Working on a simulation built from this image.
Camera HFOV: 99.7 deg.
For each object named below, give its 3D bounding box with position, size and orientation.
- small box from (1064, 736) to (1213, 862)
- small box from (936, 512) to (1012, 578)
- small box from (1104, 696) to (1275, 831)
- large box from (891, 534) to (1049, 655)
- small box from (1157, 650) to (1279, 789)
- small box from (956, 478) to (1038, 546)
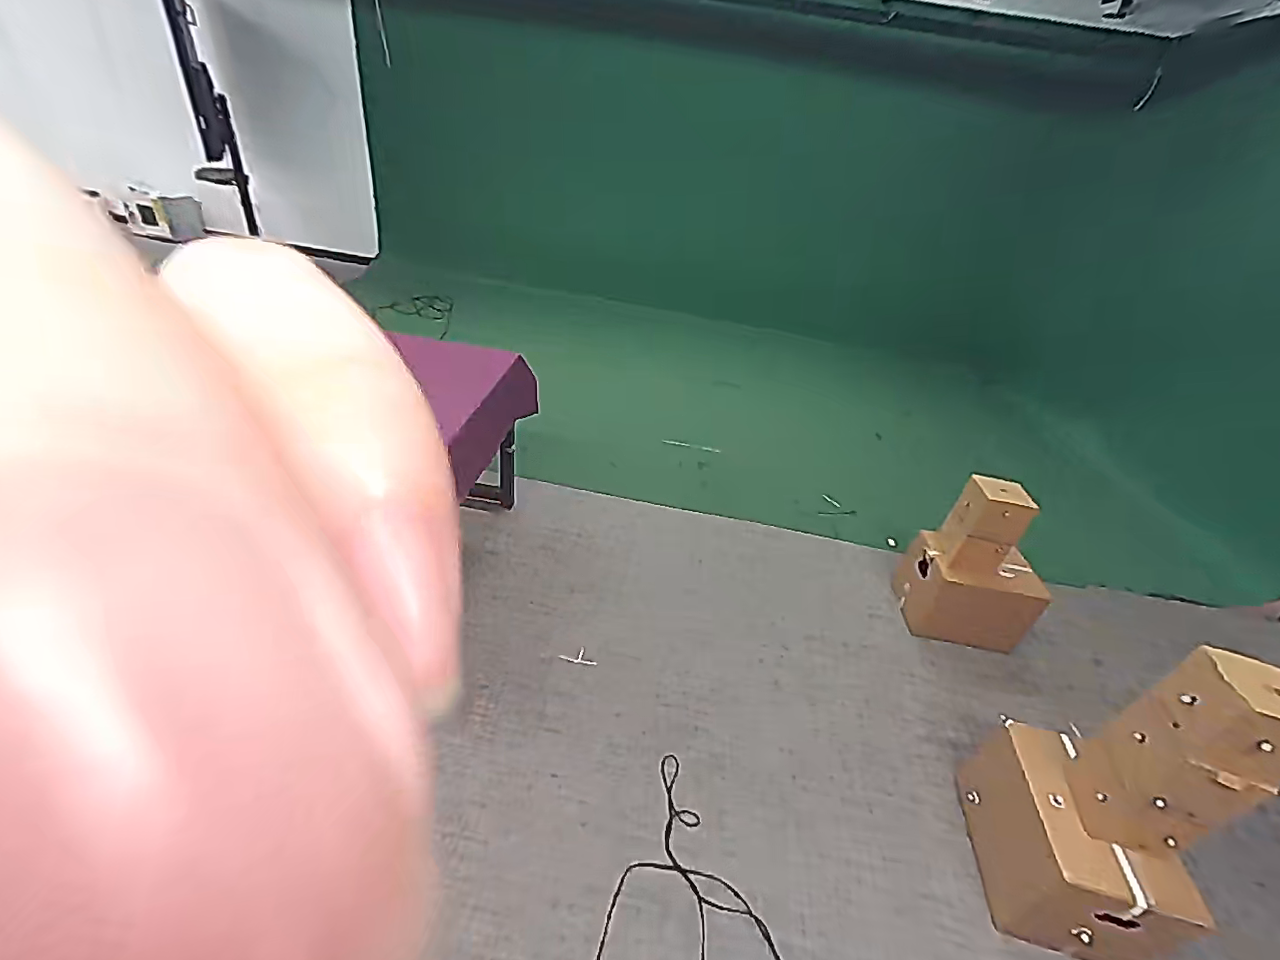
[{"bbox_3d":[1.155,0.752,1.272,0.168,0.176,0.179,18,34,9],"label":"small box"},{"bbox_3d":[1.260,0.250,2.059,0.179,0.176,0.168,13,33,3],"label":"small box"},{"bbox_3d":[1.178,0.619,1.180,0.168,0.176,0.179,19,33,10],"label":"small box"},{"bbox_3d":[1.312,0.462,2.199,0.408,0.320,0.320,12,33,1],"label":"large box"},{"bbox_3d":[1.209,0.484,1.091,0.179,0.176,0.168,18,34,9],"label":"small box"},{"bbox_3d":[1.281,0.117,1.962,0.179,0.176,0.168,13,34,3],"label":"small box"}]
